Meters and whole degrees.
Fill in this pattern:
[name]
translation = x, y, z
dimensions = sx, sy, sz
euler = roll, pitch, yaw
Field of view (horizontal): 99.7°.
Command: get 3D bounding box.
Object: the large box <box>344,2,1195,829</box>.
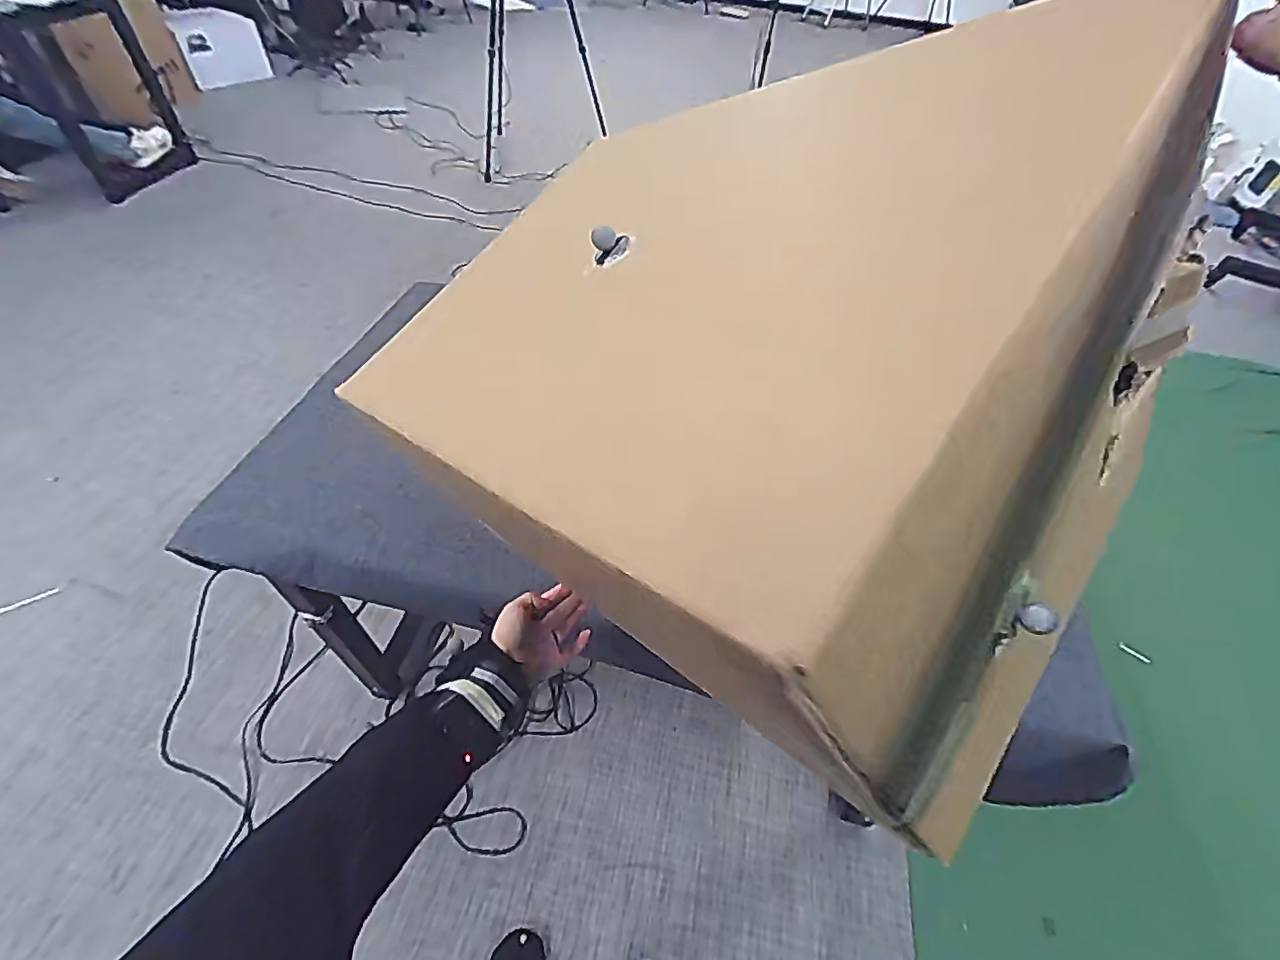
[large box]
translation = 0.065, -0.032, 0.401
dimensions = 0.408, 0.320, 0.320
euler = 20, 67, 44
